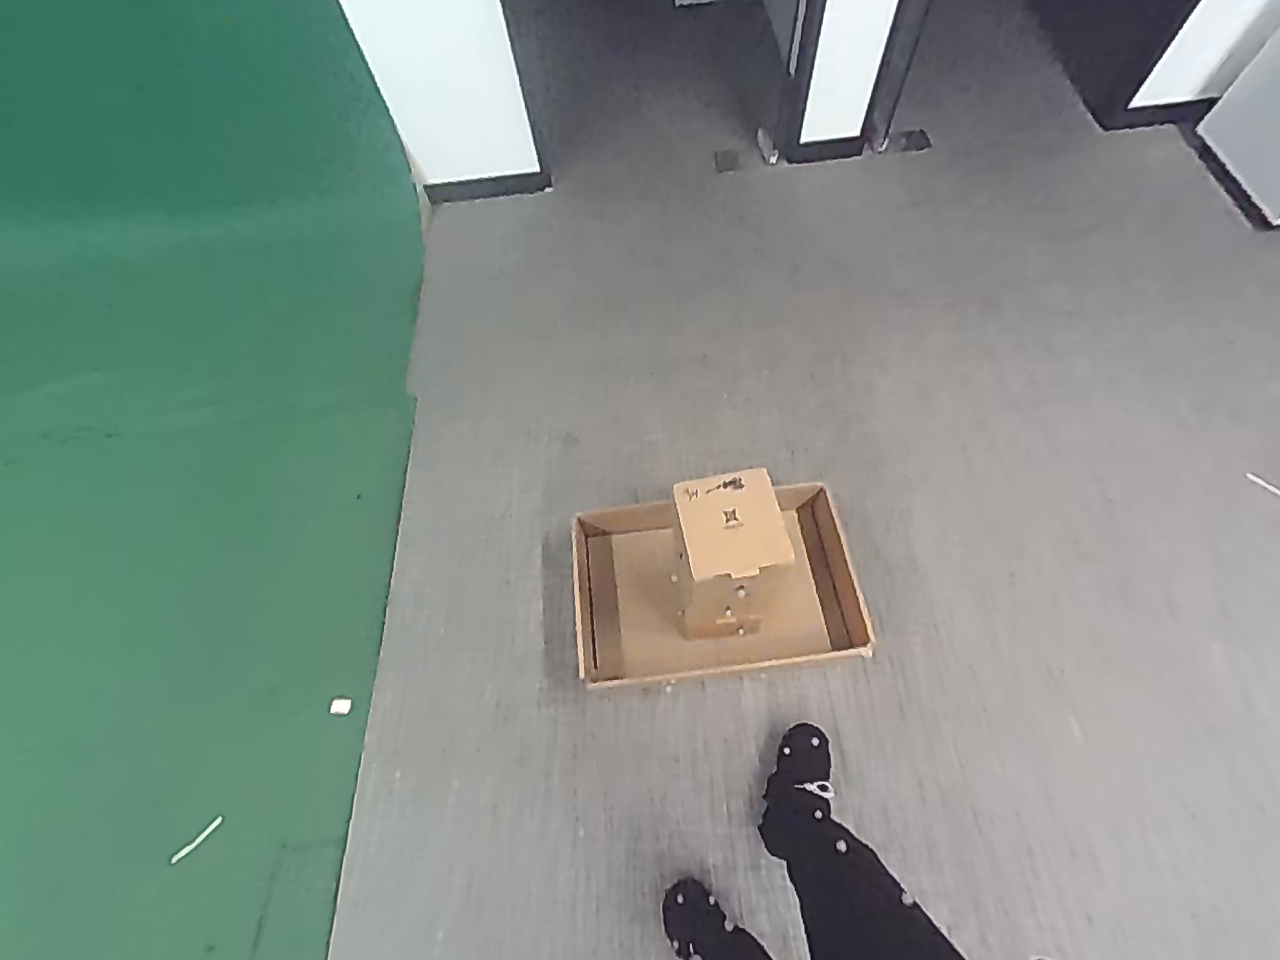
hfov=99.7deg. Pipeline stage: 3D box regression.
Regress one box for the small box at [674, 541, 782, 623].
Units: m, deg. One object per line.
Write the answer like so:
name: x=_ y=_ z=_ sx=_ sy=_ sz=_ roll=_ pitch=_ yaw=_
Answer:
small box: x=0.169 y=0.183 z=1.102 sx=0.179 sy=0.176 sz=0.168 roll=-10 pitch=63 yaw=-2

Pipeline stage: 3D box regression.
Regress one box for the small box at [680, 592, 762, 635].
small box: x=0.178 y=0.255 z=1.249 sx=0.168 sy=0.176 sz=0.179 roll=-6 pitch=62 yaw=1

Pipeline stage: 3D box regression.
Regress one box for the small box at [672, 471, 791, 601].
small box: x=0.153 y=0.108 z=0.958 sx=0.168 sy=0.176 sz=0.179 roll=-10 pitch=63 yaw=-1
